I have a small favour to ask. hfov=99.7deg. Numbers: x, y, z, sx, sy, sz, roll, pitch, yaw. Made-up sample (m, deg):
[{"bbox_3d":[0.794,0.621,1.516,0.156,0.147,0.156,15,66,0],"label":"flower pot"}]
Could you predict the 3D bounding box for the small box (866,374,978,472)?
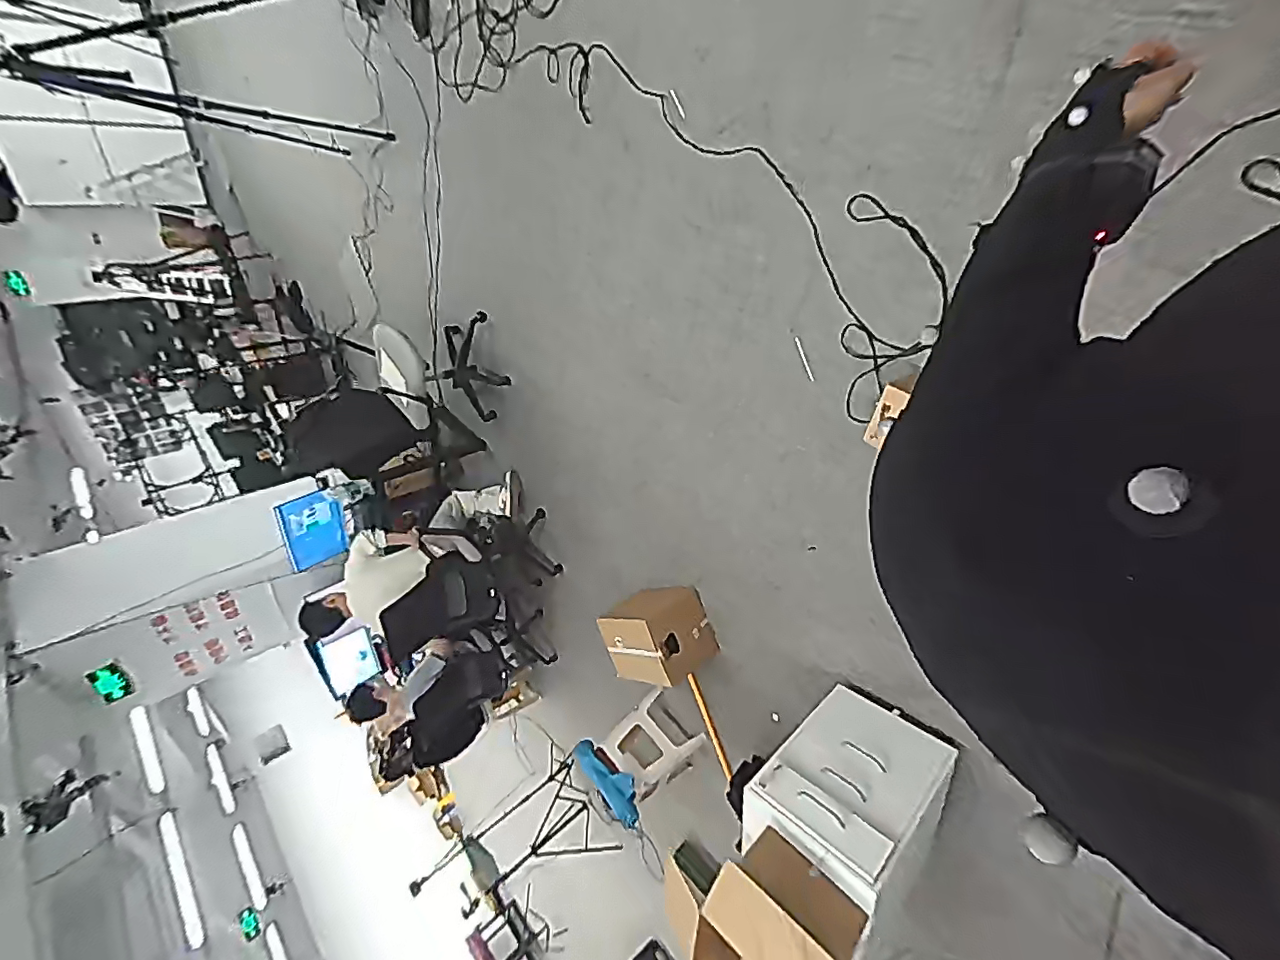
[{"bbox_3d":[0.716,-0.153,1.371,0.179,0.176,0.168,36,134,32],"label":"small box"}]
